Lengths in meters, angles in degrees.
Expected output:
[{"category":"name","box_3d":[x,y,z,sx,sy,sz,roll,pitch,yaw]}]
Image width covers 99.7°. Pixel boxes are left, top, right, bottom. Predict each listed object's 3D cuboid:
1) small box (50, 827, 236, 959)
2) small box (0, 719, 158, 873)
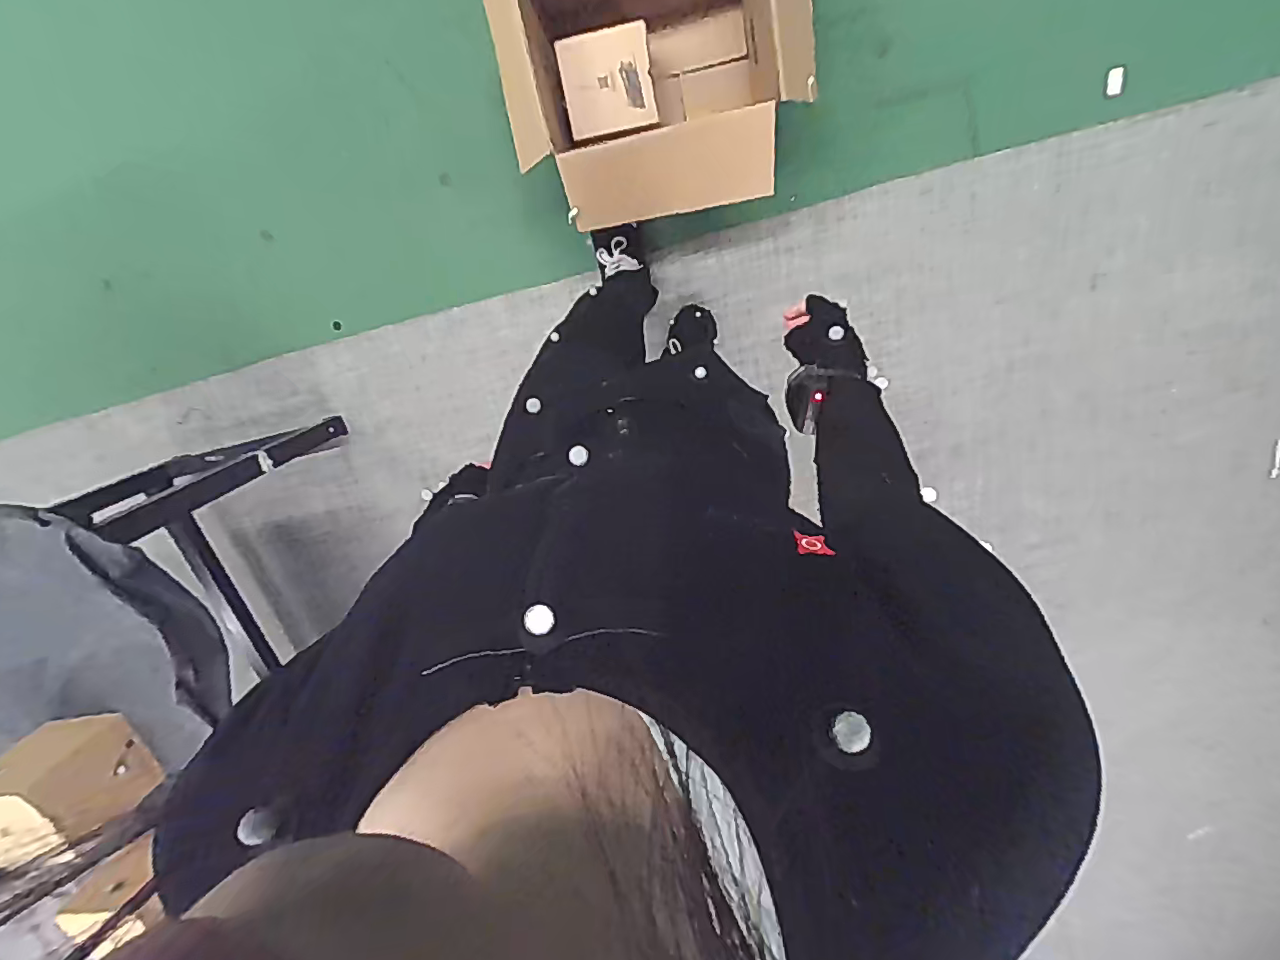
[{"category":"small box","box_3d":[-0.961,0.821,1.065,0.179,0.176,0.168,-11,111,8]},{"category":"small box","box_3d":[-1.032,0.552,0.957,0.179,0.176,0.168,-10,112,8]}]
